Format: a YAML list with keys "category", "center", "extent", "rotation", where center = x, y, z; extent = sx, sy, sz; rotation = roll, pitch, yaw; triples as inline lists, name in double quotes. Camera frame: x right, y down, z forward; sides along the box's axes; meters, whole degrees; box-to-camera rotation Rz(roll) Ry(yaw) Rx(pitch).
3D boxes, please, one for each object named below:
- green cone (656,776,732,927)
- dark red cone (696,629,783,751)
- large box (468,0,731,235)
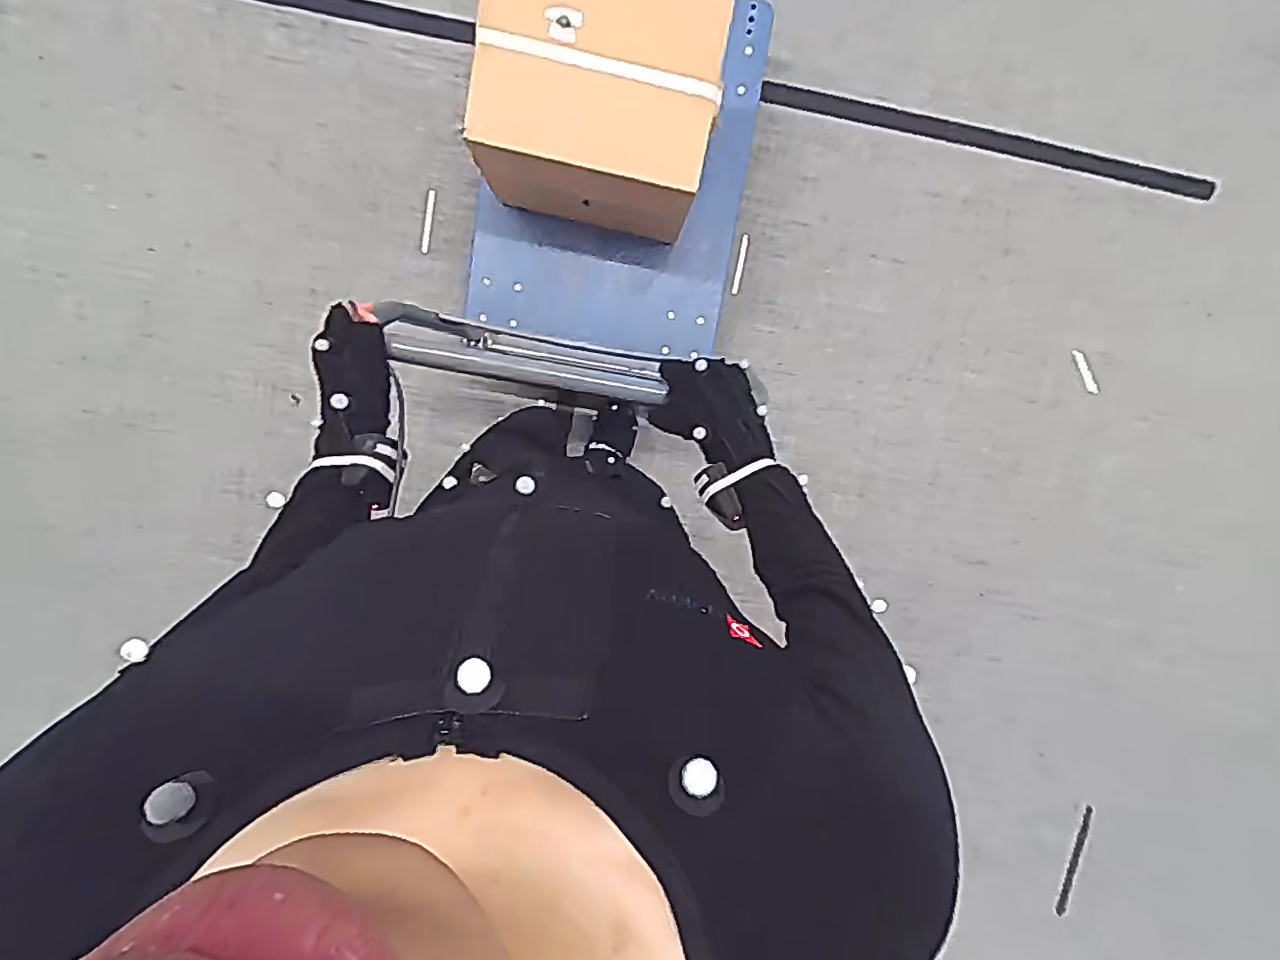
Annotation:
- category: "green cone"
  center: [0.173, 1.016, 1.454]
  extent: [0.202, 0.368, 0.200]
  rotation: [13, 97, -6]
- category: "dark red cone"
  center: [0.280, 0.550, 1.372]
  extent: [0.201, 0.394, 0.202]
  rotation: [10, 98, -6]
- category: "large box"
  center: [-0.072, -0.705, 1.045]
  extent: [0.408, 0.320, 0.320]
  rotation: [11, 98, -4]
